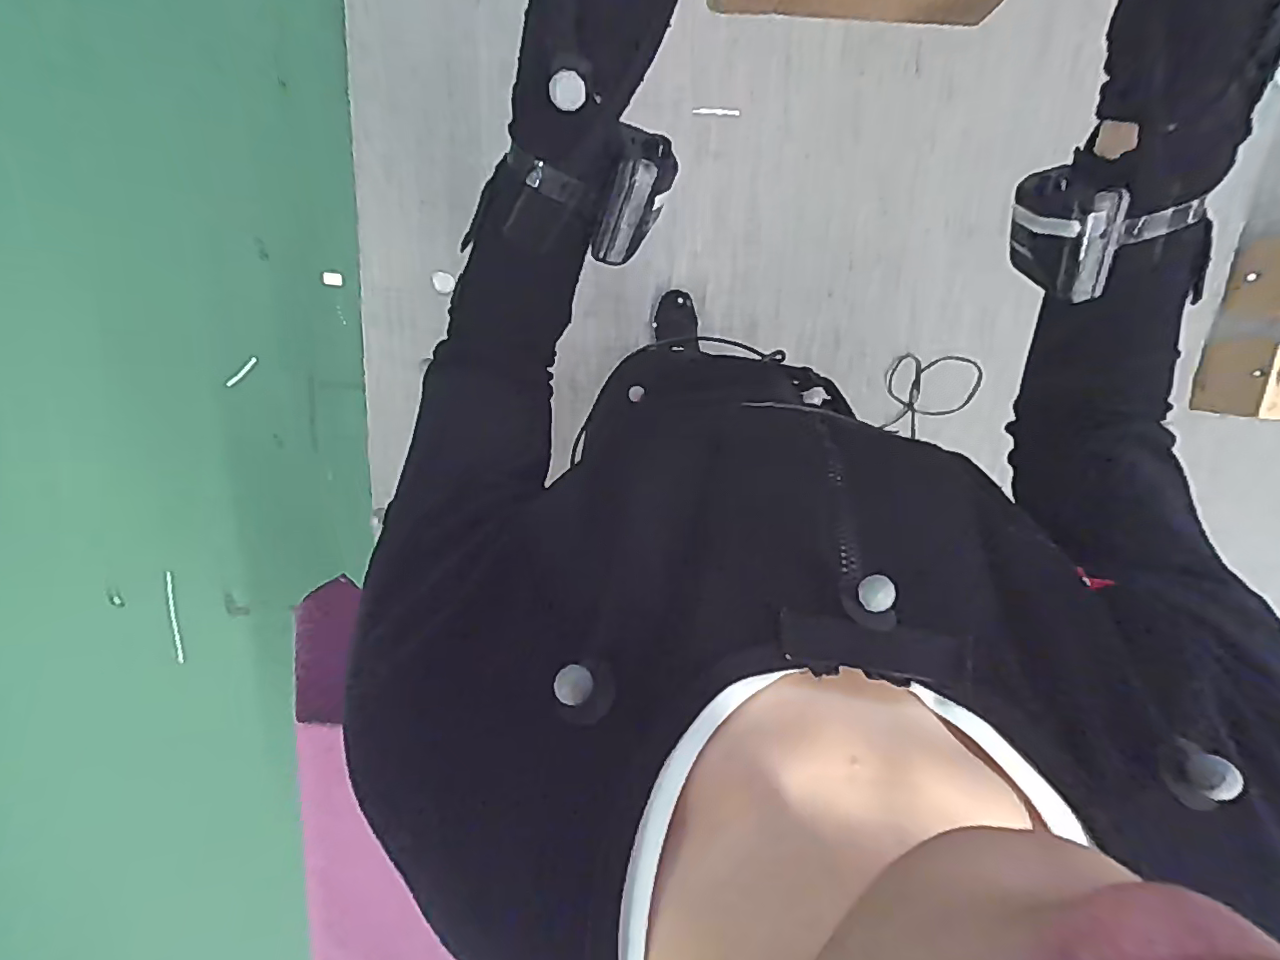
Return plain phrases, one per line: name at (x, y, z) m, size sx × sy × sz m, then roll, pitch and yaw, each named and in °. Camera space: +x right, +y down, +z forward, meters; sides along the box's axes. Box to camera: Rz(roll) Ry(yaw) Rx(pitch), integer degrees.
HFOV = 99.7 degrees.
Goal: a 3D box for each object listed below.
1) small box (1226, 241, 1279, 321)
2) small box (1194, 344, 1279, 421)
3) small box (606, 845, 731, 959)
small box at (1.500, -0.447, 1.207) m, size 0.179 × 0.176 × 0.168 m, roll 5°, pitch 103°, yaw 2°
small box at (1.477, -0.229, 1.260) m, size 0.179 × 0.176 × 0.168 m, roll 2°, pitch 103°, yaw 2°
small box at (0.038, 0.704, 0.817) m, size 0.168 × 0.176 × 0.179 m, roll 9°, pitch 103°, yaw 0°
